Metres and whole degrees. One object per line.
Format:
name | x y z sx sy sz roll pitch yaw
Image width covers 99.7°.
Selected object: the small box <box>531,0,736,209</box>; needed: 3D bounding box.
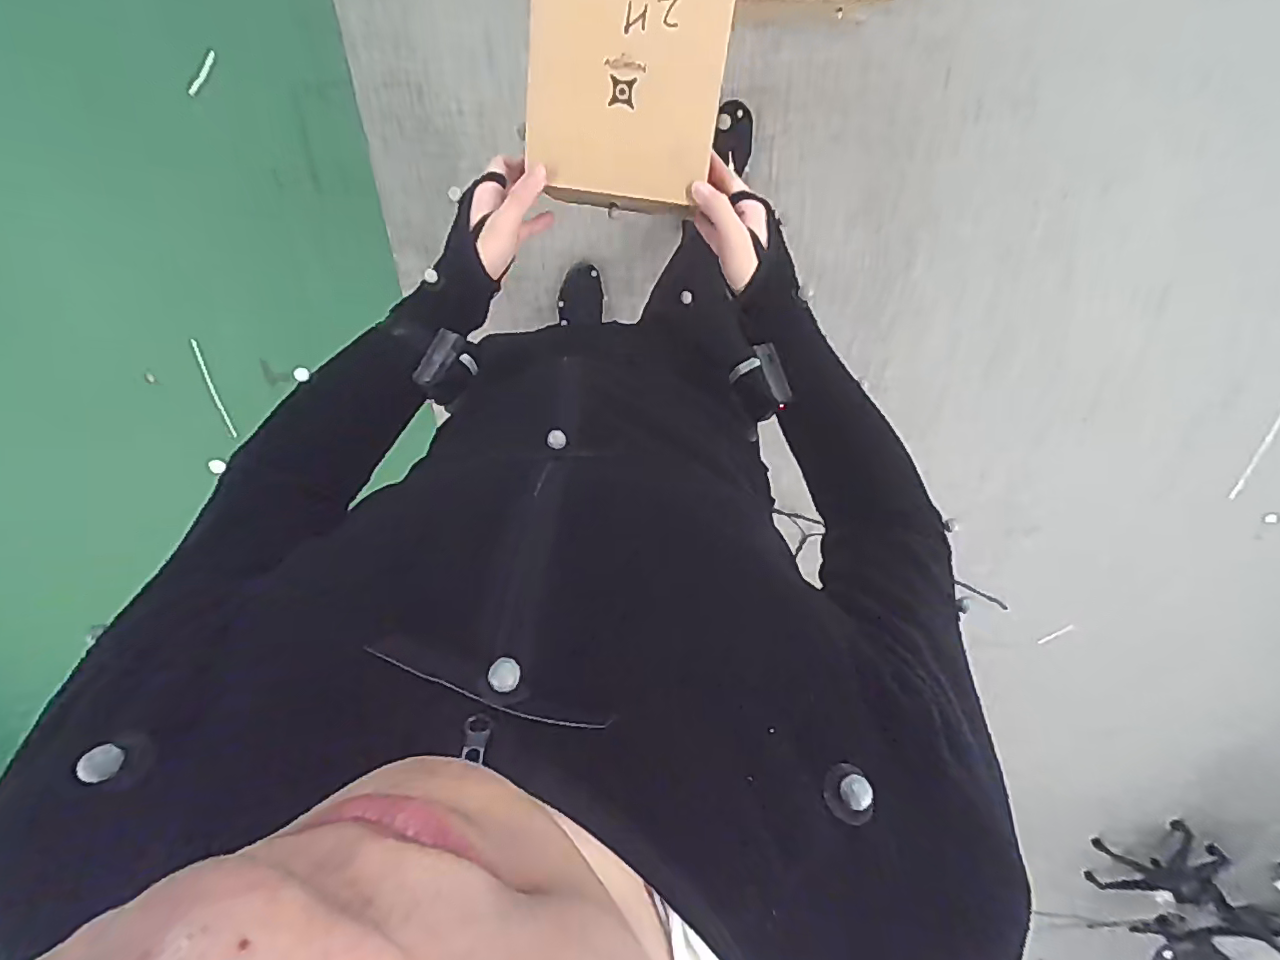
small box | -0.006 -0.379 0.537 0.168 0.176 0.179 7 111 -1
